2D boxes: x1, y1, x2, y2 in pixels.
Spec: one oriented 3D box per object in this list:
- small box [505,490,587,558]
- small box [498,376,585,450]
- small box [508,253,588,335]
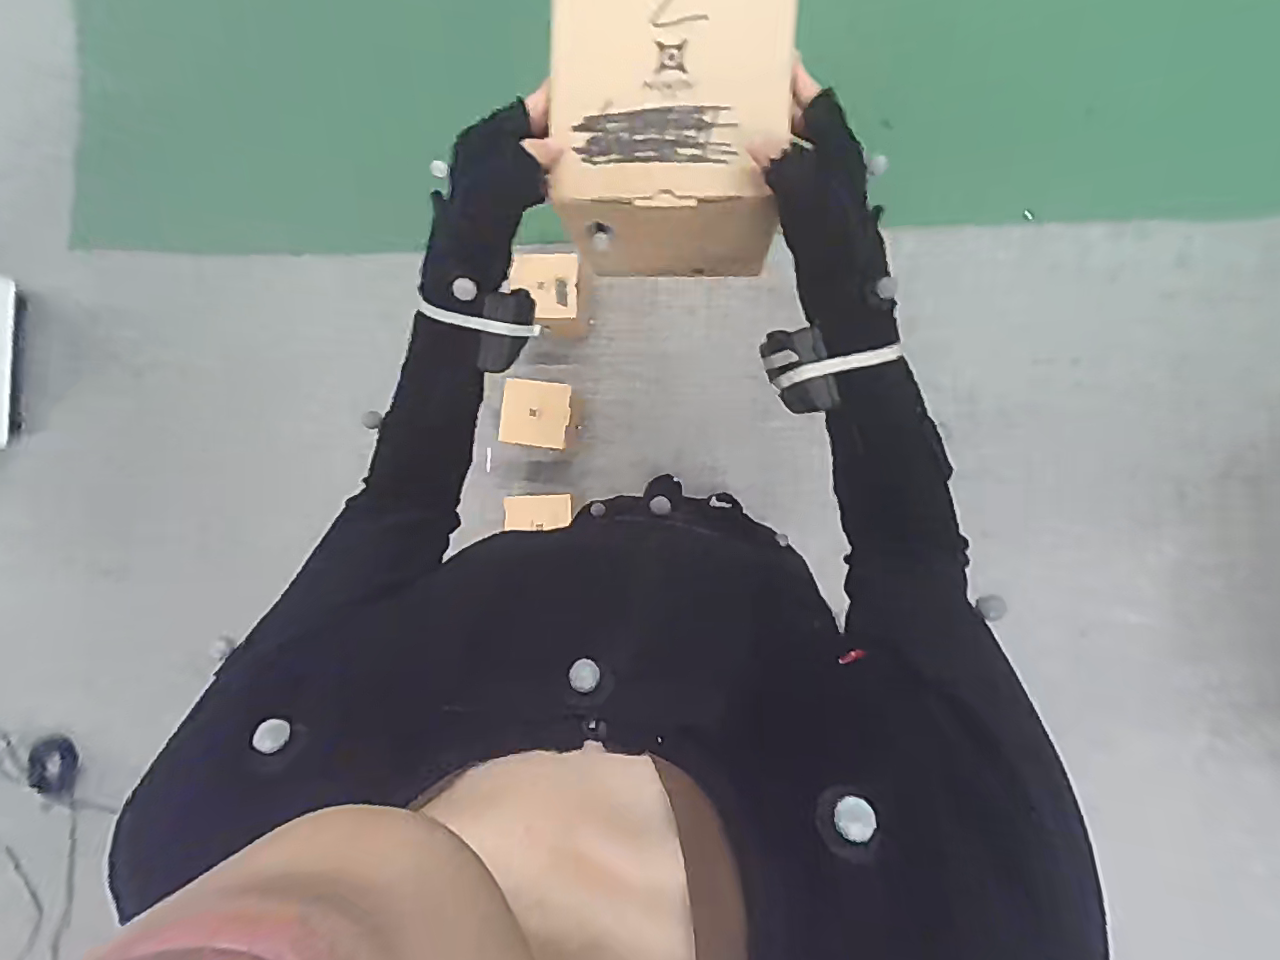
[{"bbox_3d":[-0.246,0.114,1.436,0.179,0.176,0.168,-3,91,4],"label":"small box"},{"bbox_3d":[-0.257,-0.172,1.439,0.179,0.176,0.168,6,90,6],"label":"small box"},{"bbox_3d":[-0.237,-0.490,1.439,0.179,0.176,0.168,1,90,7],"label":"small box"}]
